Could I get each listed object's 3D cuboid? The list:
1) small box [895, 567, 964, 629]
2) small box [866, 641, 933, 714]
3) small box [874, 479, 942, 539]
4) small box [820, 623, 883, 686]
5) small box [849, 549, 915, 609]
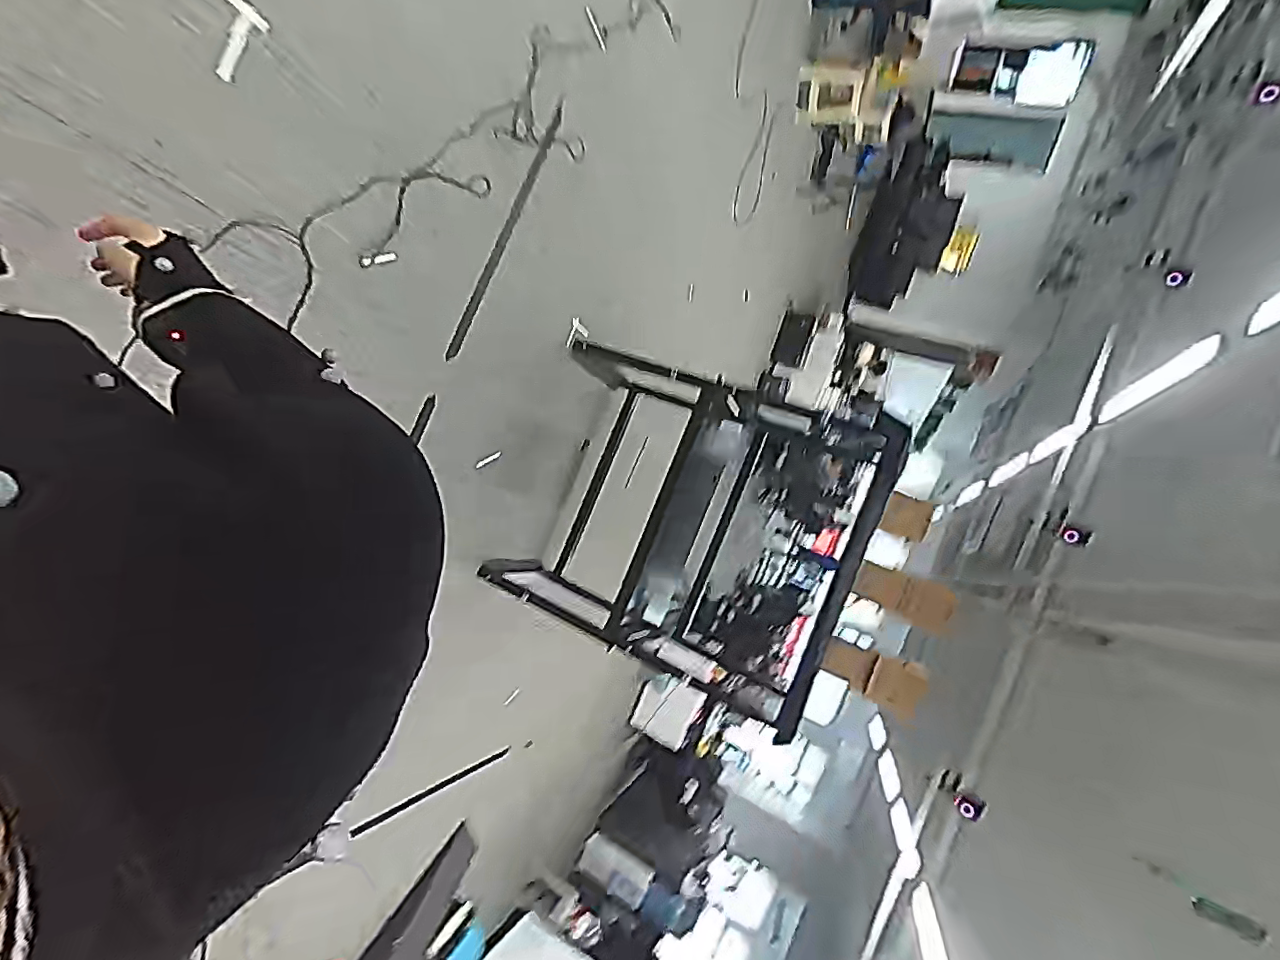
[{"bbox_3d":[1.027,0.419,1.940,0.168,0.176,0.179,-67,160,-2],"label":"small box"},{"bbox_3d":[0.903,0.688,1.903,0.168,0.176,0.179,-68,159,1],"label":"small box"},{"bbox_3d":[0.984,0.107,2.000,0.168,0.176,0.179,-67,160,-1],"label":"small box"},{"bbox_3d":[0.772,0.639,1.991,0.168,0.176,0.179,-67,160,-6],"label":"small box"},{"bbox_3d":[0.884,0.361,1.995,0.168,0.176,0.179,-68,160,-3],"label":"small box"}]
